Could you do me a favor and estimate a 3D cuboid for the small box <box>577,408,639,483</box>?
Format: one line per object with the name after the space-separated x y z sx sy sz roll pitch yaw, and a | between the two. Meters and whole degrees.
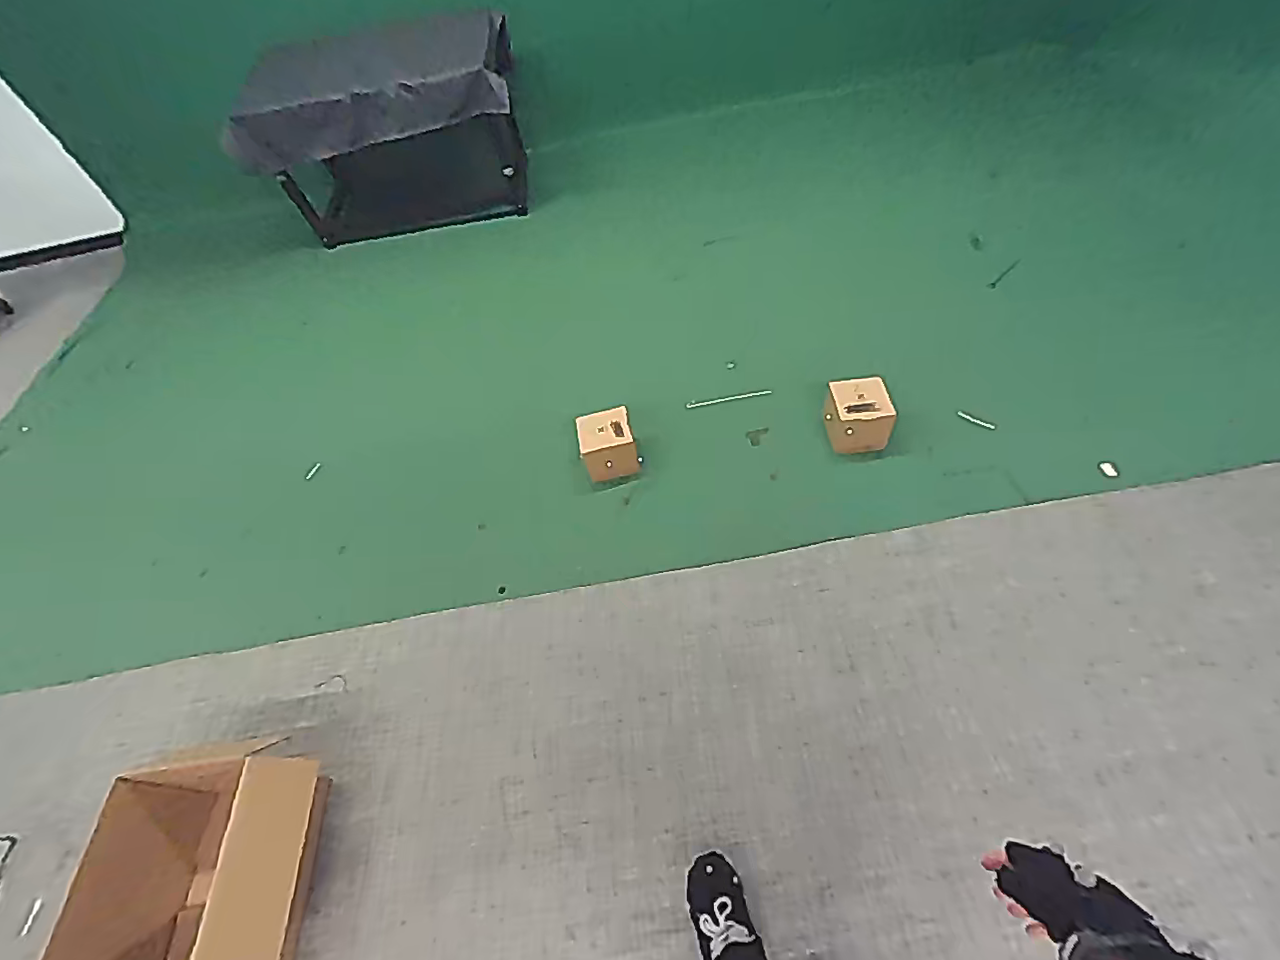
-0.105 -0.114 1.839 0.179 0.176 0.168 -13 53 1 | small box
